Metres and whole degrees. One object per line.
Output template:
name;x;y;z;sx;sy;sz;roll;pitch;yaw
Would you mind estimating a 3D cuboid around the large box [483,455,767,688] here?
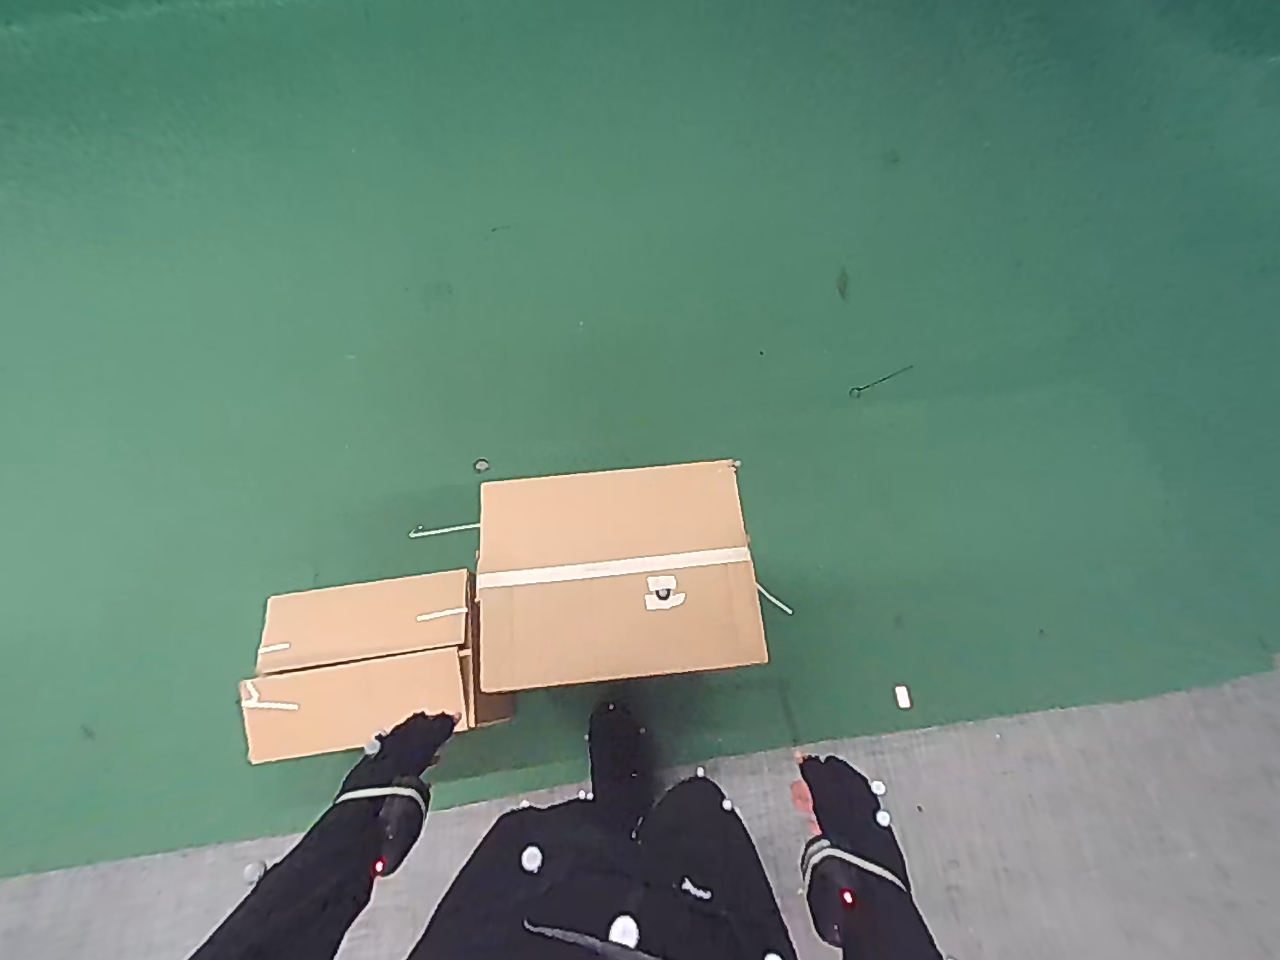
large box;-0.035;0.176;0.944;0.408;0.320;0.320;-5;70;-3
